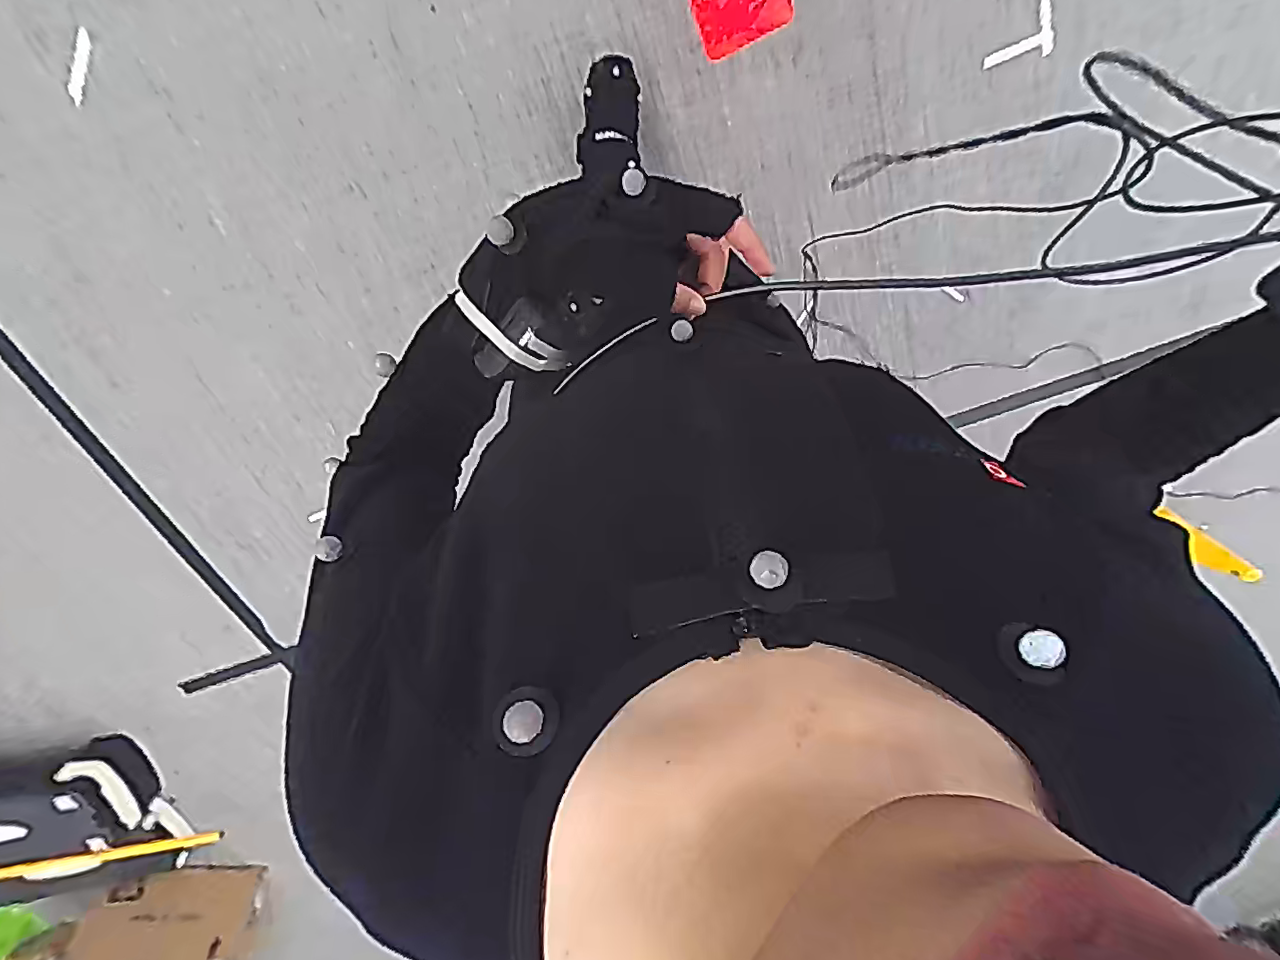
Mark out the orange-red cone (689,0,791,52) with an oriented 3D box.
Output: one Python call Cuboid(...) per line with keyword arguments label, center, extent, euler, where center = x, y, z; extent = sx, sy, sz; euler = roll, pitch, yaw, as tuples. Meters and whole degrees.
Cuboid(label="orange-red cone", center=(0.205, -0.925, 0.924), extent=(0.199, 0.360, 0.198), euler=(-23, 115, 6))
